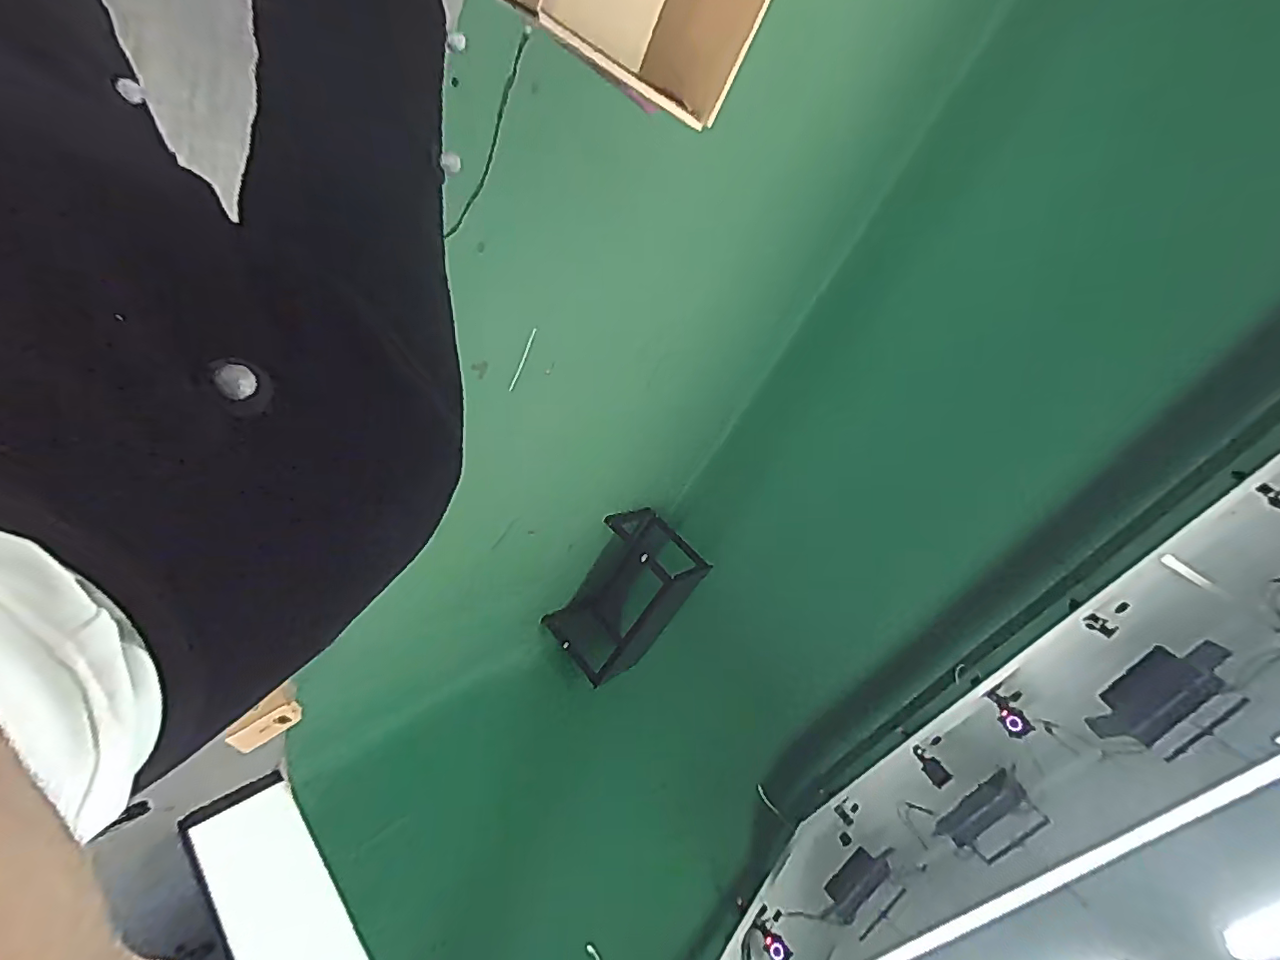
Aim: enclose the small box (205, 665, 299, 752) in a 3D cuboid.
[{"bbox_3d":[-1.253,0.735,1.748,0.179,0.176,0.168,-31,153,-31],"label":"small box"}]
